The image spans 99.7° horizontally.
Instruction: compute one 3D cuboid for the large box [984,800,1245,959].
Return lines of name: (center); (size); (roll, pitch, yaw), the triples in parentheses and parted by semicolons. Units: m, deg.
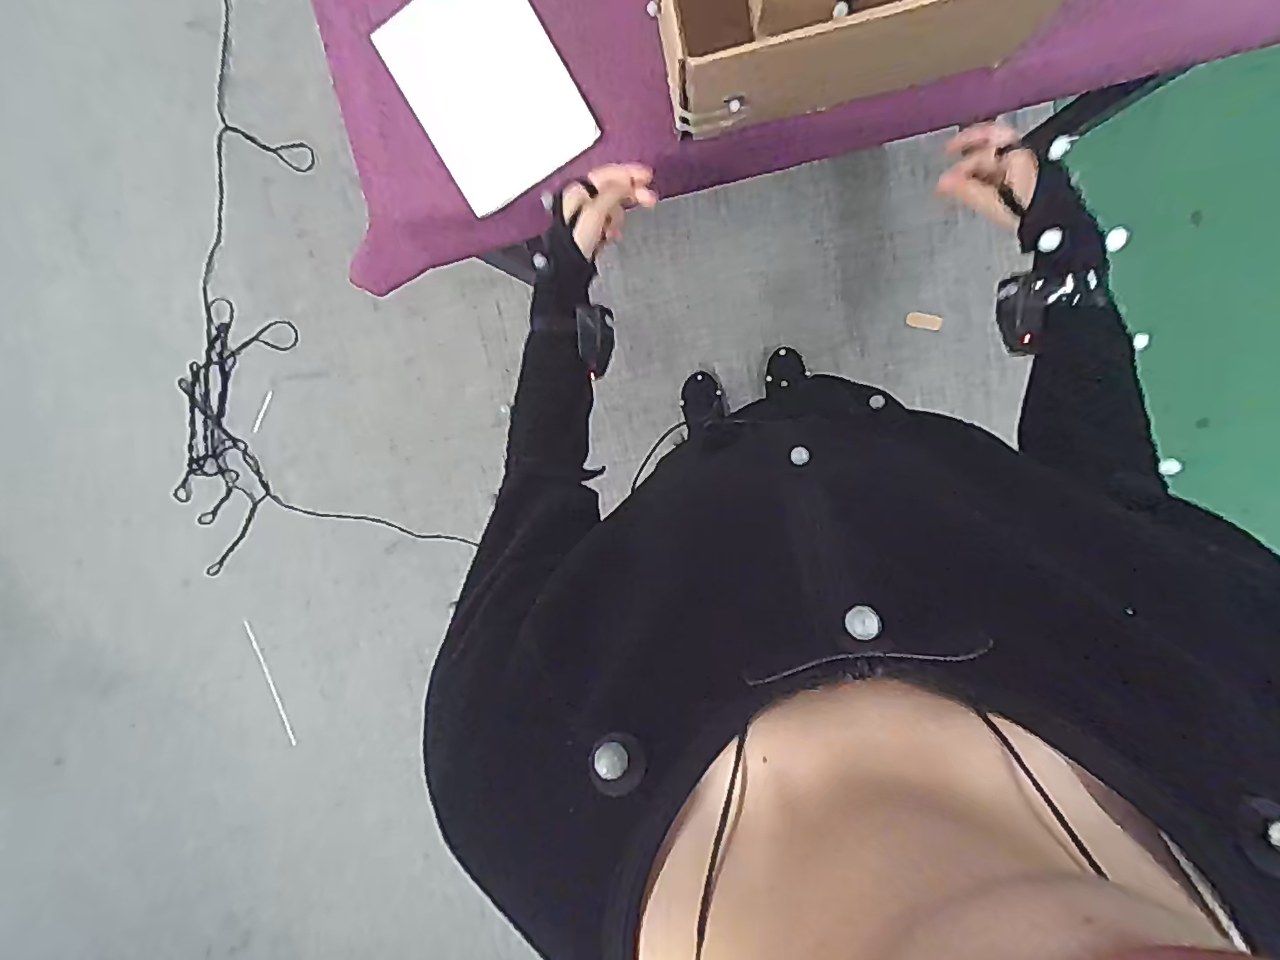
large box: (1.243, 1.150, 1.444); (0.408, 0.320, 0.320); (-26, 97, 9)
